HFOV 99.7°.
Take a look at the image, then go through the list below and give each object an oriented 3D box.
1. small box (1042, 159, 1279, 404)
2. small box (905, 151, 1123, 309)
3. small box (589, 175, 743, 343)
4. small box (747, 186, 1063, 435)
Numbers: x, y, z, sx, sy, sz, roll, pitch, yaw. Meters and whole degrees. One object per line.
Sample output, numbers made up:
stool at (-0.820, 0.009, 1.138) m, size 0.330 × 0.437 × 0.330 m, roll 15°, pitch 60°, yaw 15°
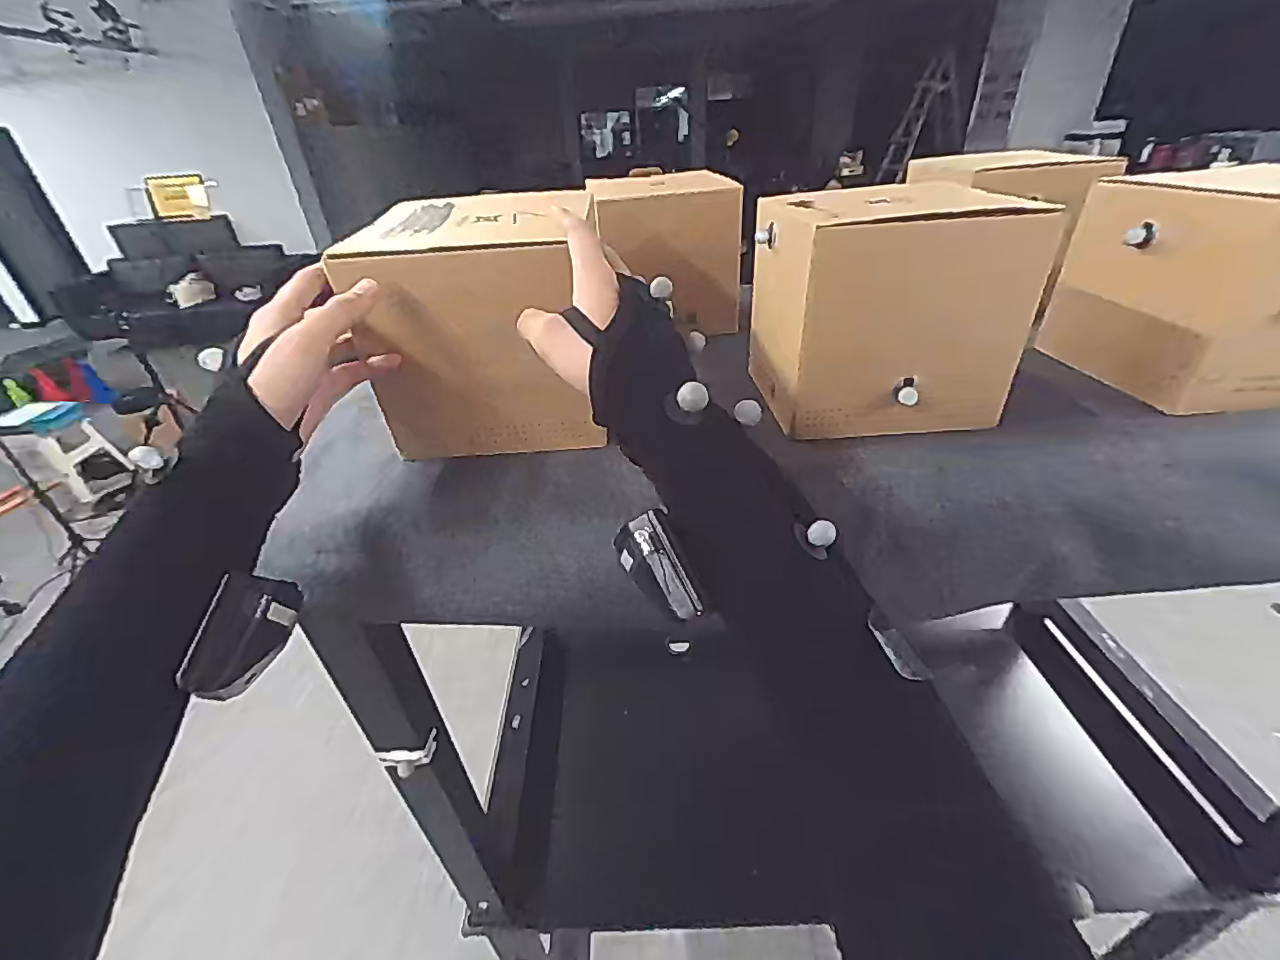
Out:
small box at (0.509, -0.173, 0.472) m, size 0.168 × 0.176 × 0.179 m, roll -5°, pitch 32°, yaw -1°
small box at (0.458, -0.327, 0.711) m, size 0.179 × 0.176 × 0.168 m, roll -3°, pitch 34°, yaw 1°
small box at (0.027, -0.288, 0.698) m, size 0.168 × 0.176 × 0.179 m, roll -8°, pitch 34°, yaw -4°
small box at (0.199, -0.151, 0.471) m, size 0.179 × 0.176 × 0.168 m, roll -3°, pitch 33°, yaw -1°
